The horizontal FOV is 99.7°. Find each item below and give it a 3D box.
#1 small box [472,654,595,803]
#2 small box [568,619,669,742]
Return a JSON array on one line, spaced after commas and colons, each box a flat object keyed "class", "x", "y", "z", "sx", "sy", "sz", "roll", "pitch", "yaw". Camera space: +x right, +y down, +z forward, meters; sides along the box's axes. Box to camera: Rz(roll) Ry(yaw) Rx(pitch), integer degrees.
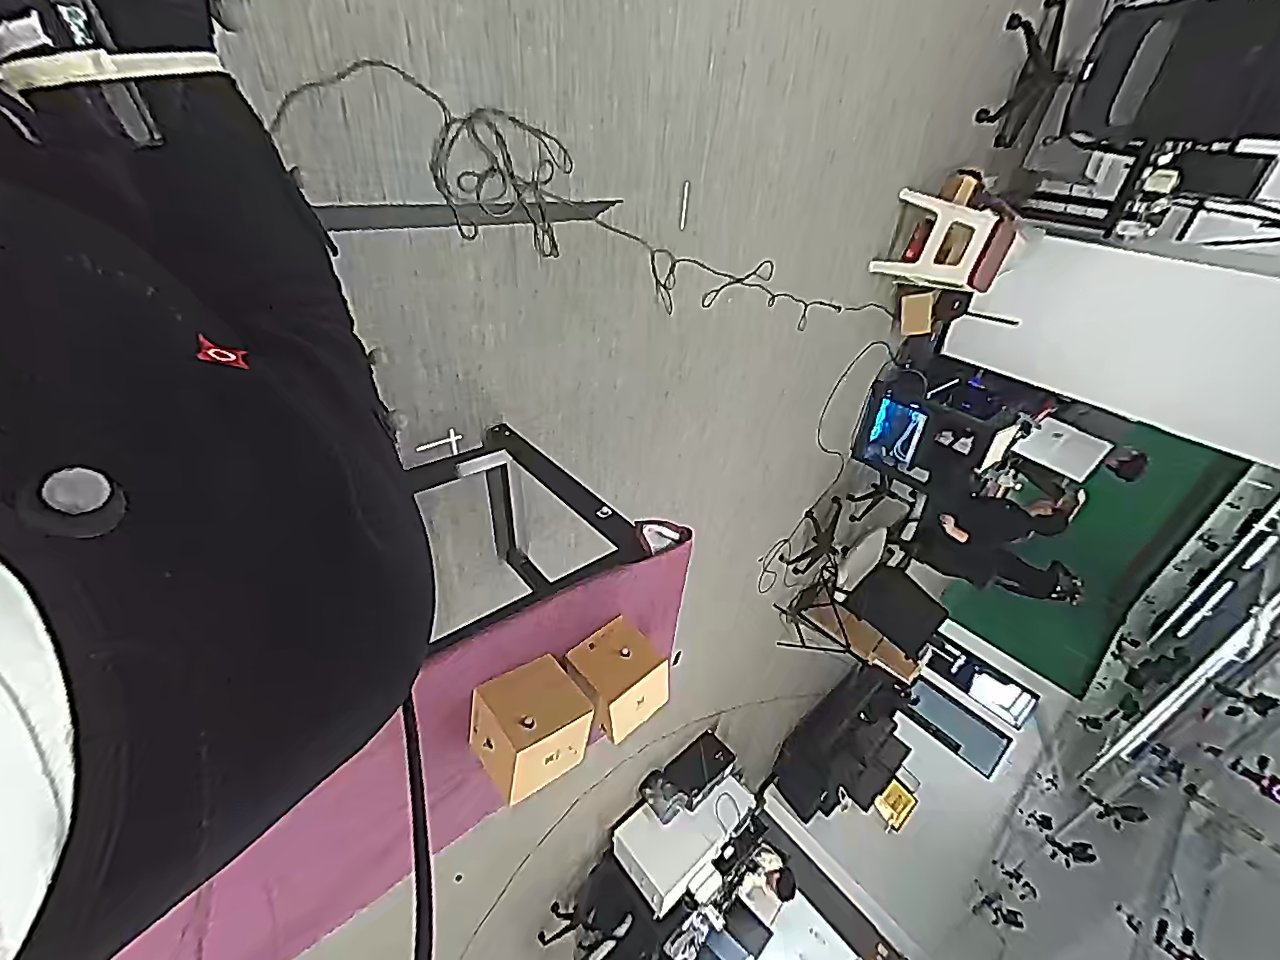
[{"class": "small box", "x": -0.218, "y": 0.485, "z": 1.079, "sx": 0.179, "sy": 0.176, "sz": 0.168, "roll": -14, "pitch": 128, "yaw": -41}, {"class": "small box", "x": -0.050, "y": 0.444, "z": 1.234, "sx": 0.168, "sy": 0.176, "sz": 0.179, "roll": -30, "pitch": 136, "yaw": -29}]
